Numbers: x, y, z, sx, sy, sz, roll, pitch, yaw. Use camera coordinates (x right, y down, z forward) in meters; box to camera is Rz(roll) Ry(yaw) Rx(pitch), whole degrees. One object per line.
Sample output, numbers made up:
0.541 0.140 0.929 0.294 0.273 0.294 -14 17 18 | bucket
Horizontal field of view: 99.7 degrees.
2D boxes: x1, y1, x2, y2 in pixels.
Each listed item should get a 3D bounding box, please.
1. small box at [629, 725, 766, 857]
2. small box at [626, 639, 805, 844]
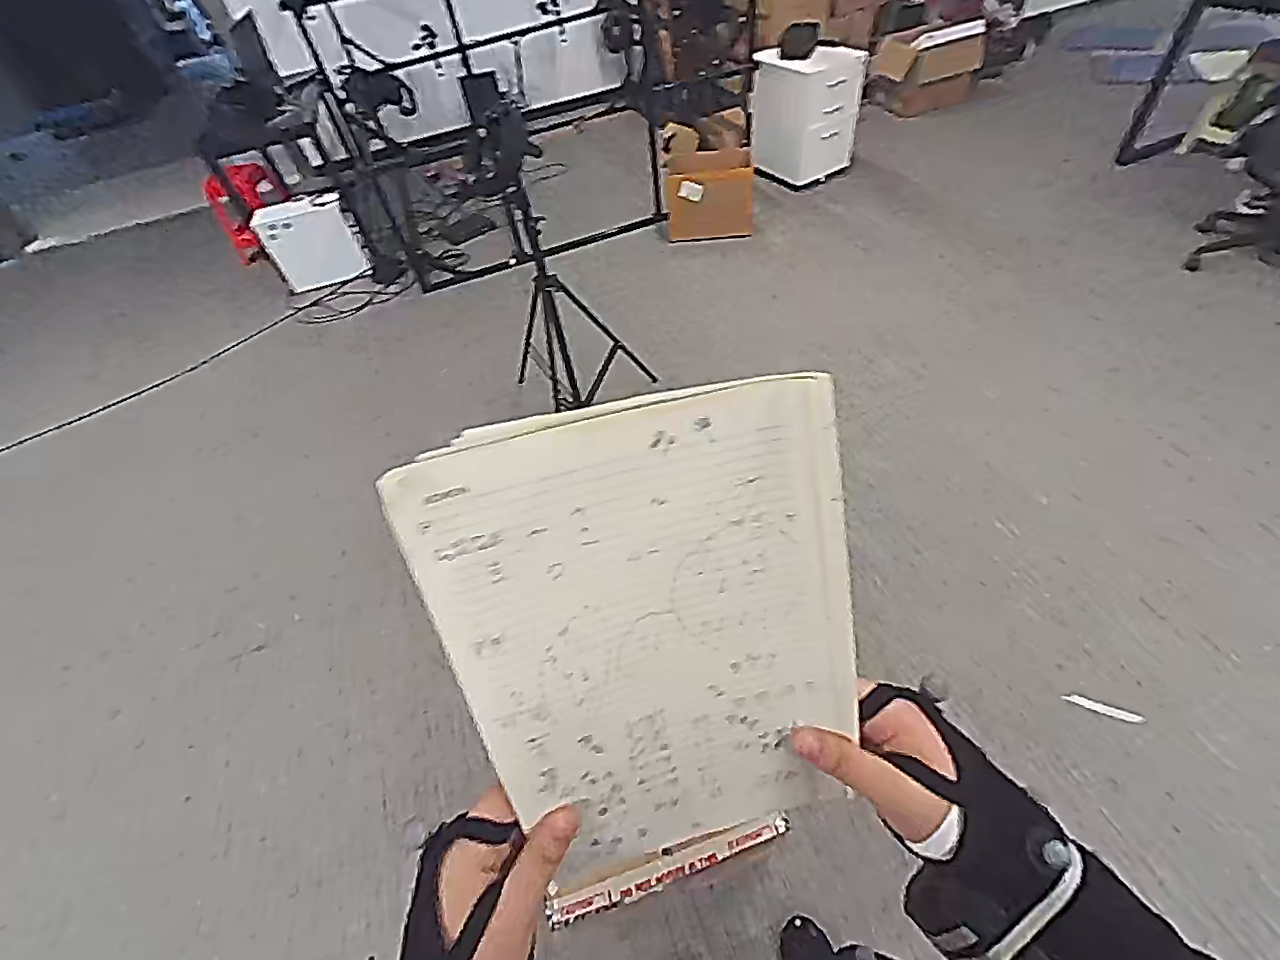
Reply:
0.097 0.447 0.832 0.179 0.176 0.168 -21 51 -11 | small box
0.087 0.342 0.706 0.168 0.176 0.179 -18 52 -9 | small box
